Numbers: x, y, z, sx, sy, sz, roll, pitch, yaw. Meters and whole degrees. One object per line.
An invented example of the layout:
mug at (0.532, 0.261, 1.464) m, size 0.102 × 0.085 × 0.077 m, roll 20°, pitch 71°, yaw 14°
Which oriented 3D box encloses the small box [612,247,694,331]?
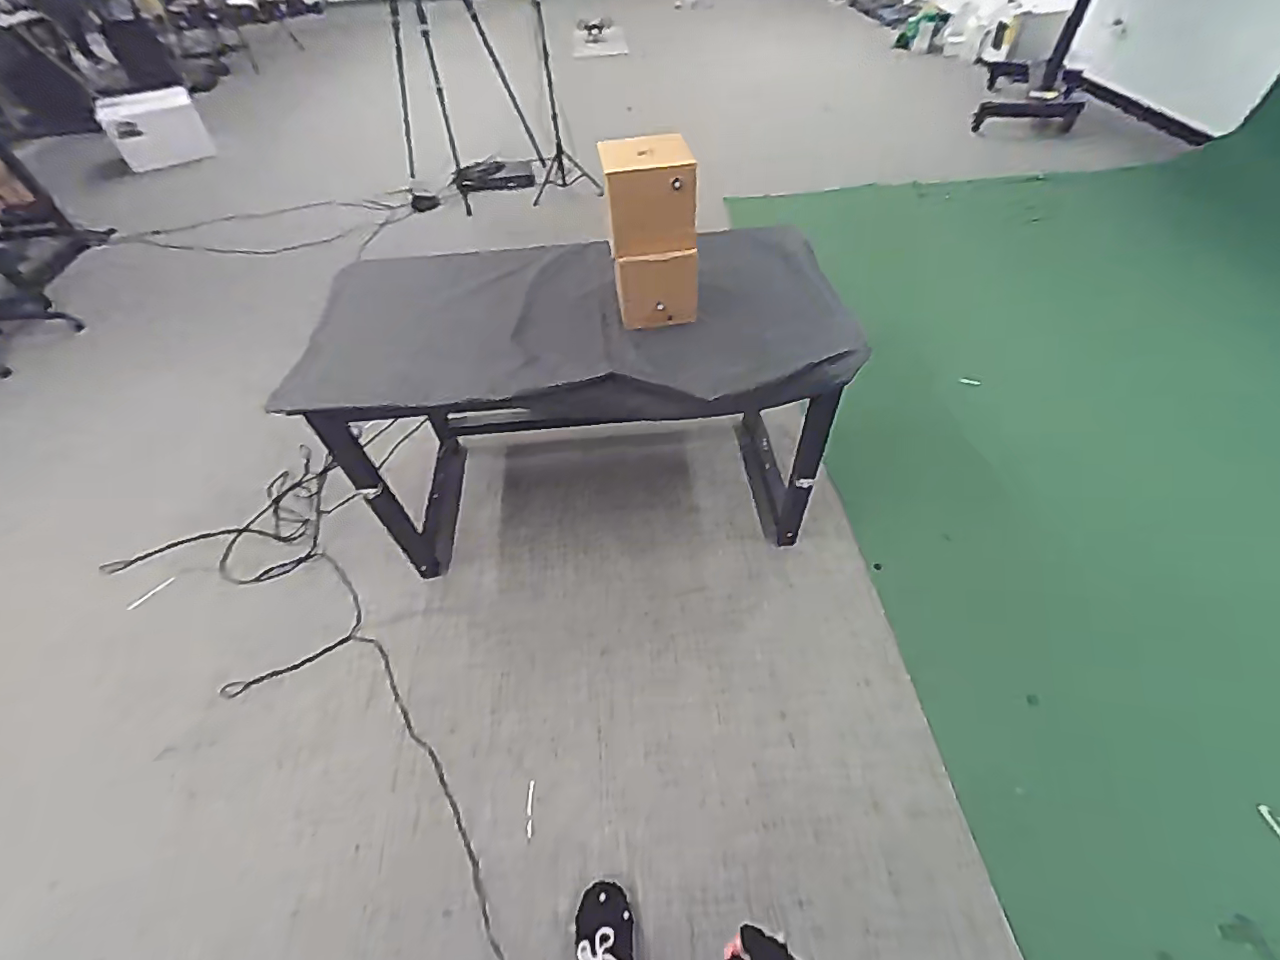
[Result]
small box at (0.025, -0.463, 1.231) m, size 0.168 × 0.176 × 0.179 m, roll -7°, pitch 50°, yaw -3°

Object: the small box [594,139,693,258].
small box at (0.008, -0.575, 1.113) m, size 0.179 × 0.176 × 0.168 m, roll -8°, pitch 50°, yaw -4°
